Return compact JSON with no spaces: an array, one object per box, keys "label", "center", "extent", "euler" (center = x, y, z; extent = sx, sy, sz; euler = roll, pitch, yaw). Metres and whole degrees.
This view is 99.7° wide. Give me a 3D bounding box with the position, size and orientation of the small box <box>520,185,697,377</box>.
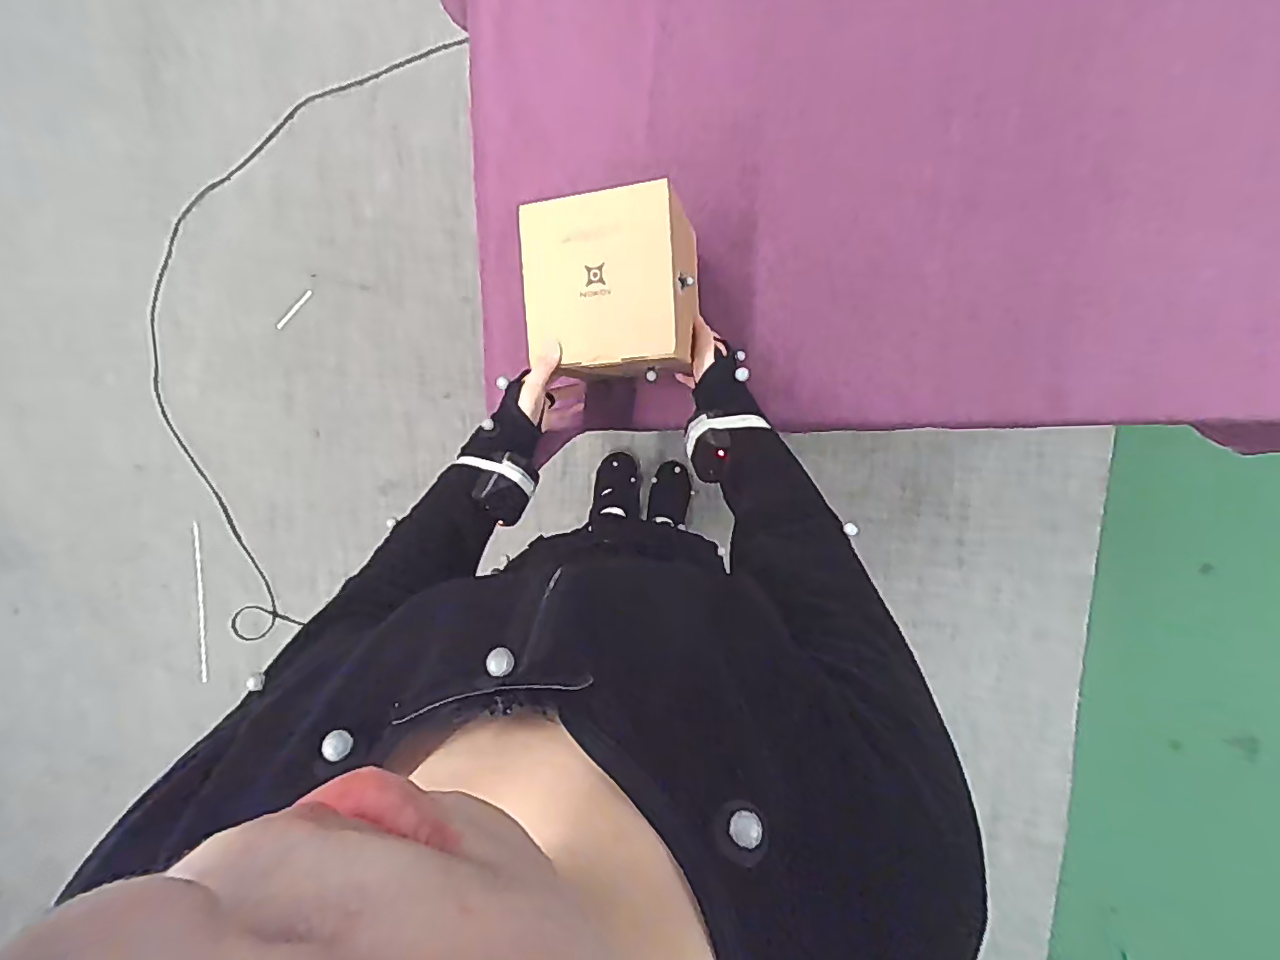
[{"label":"small box","center":[-0.026,-0.217,0.644],"extent":[0.168,0.176,0.179],"euler":[-1,95,15]}]
